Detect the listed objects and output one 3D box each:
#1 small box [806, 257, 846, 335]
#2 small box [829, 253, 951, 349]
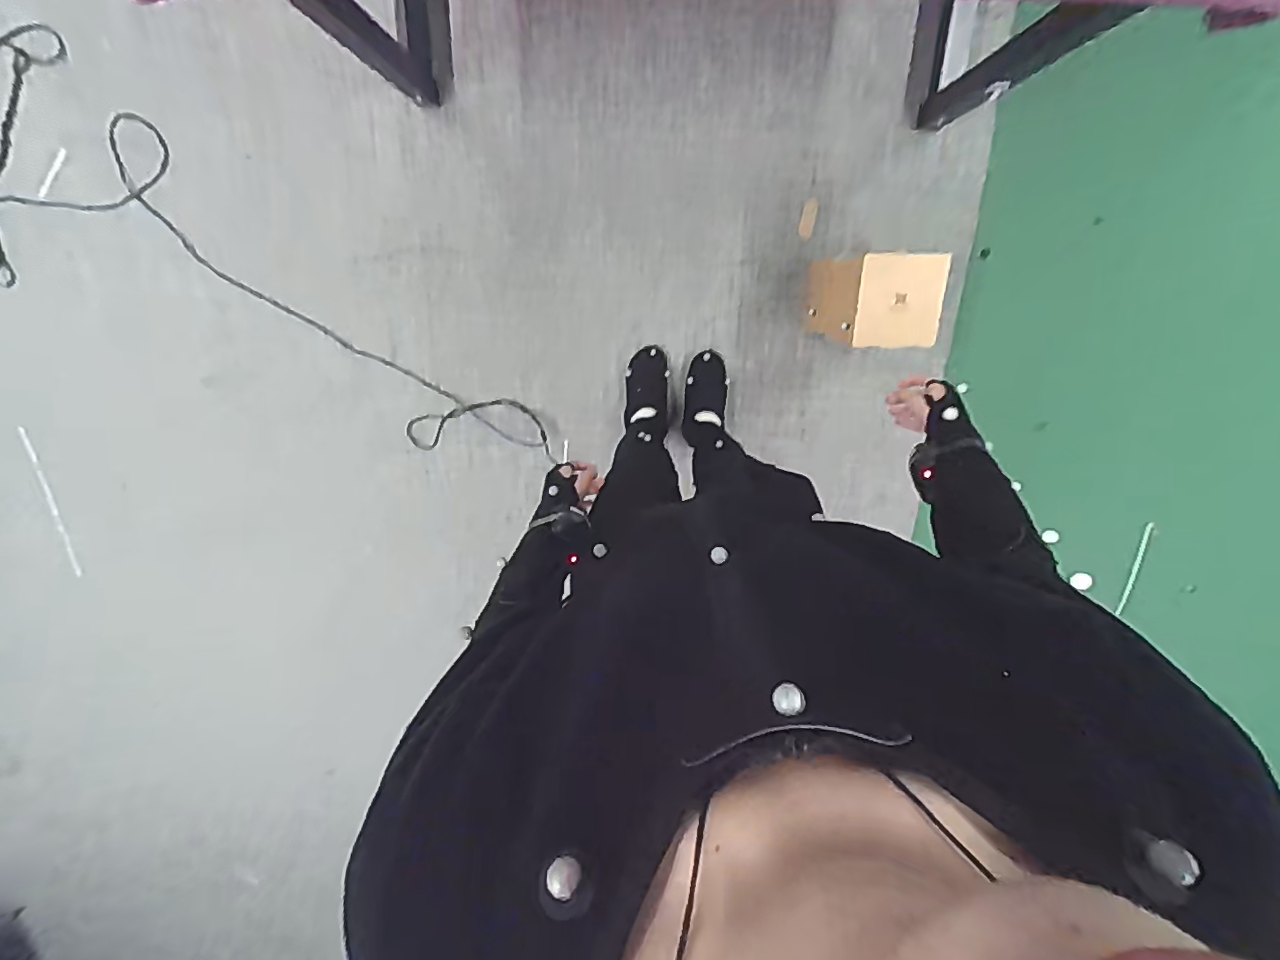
[{"bbox_3d":[0.502,-0.424,1.269,0.179,0.176,0.168,3,109,0],"label":"small box"},{"bbox_3d":[0.504,-0.369,1.117,0.168,0.176,0.179,0,110,1],"label":"small box"}]
